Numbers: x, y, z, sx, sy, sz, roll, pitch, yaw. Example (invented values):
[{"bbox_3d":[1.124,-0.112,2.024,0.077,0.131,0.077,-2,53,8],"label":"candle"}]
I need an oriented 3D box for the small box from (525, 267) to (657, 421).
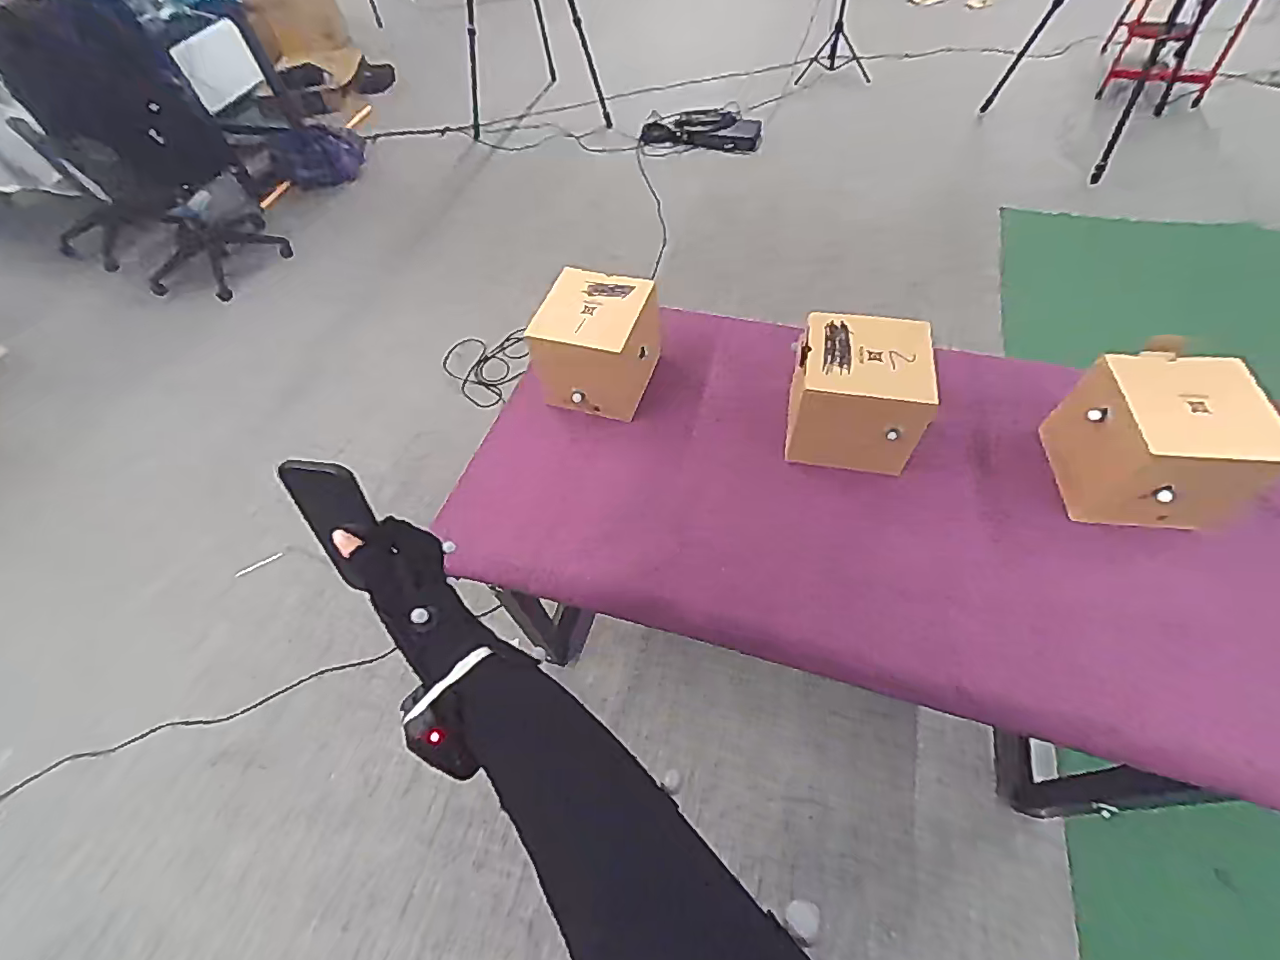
[{"bbox_3d":[-0.073,-0.231,0.929,0.168,0.176,0.179,14,60,14],"label":"small box"}]

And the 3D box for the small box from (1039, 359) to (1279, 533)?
[{"bbox_3d":[0.697,-0.043,0.743,0.168,0.176,0.179,4,55,8],"label":"small box"}]
